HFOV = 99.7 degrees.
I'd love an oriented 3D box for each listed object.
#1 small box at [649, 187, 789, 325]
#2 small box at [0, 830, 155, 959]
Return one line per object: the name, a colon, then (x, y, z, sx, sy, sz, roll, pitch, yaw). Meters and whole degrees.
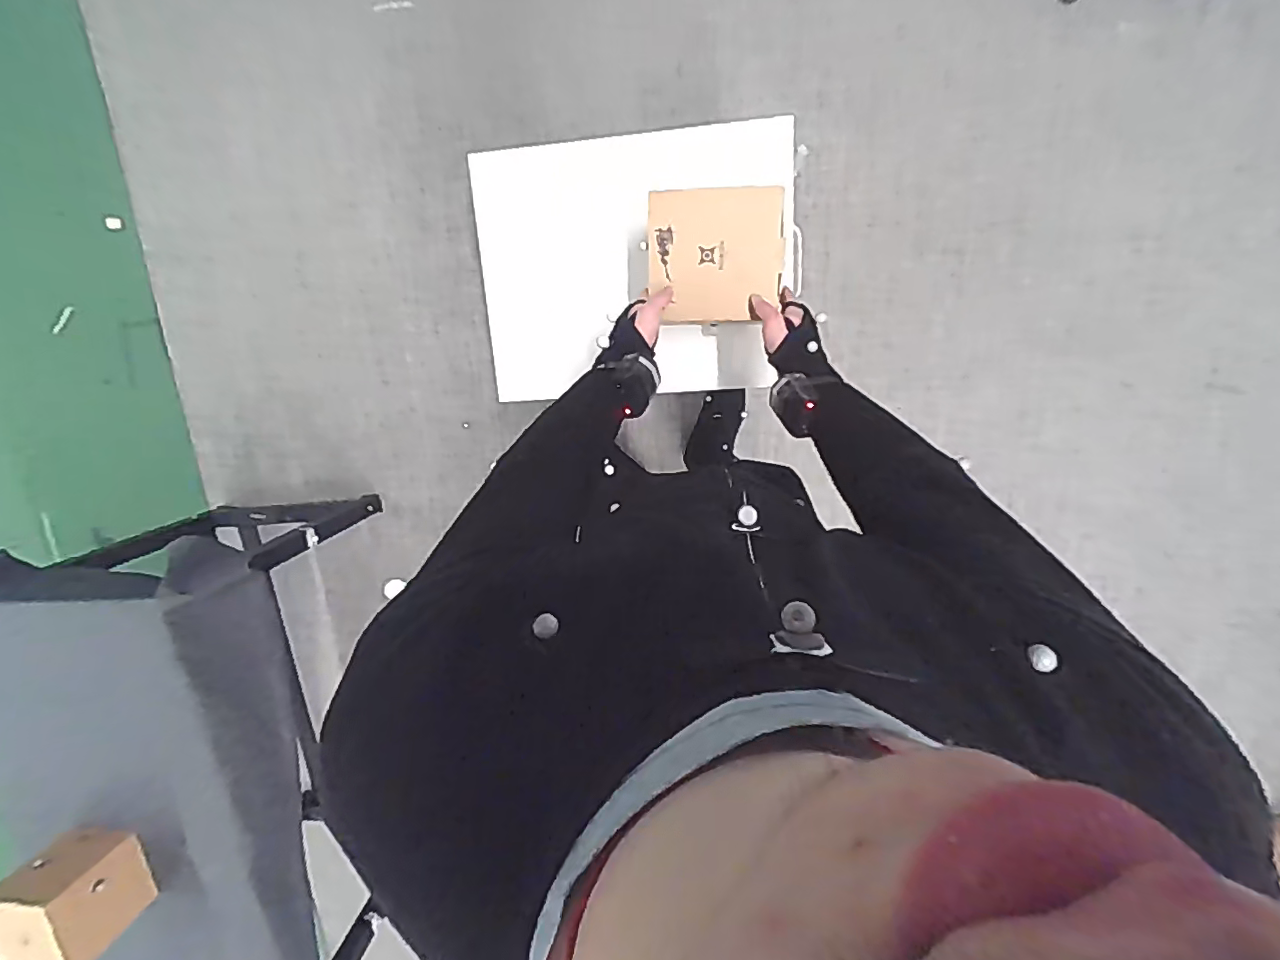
small box: (0.105, -0.311, 0.776, 0.179, 0.176, 0.168, 1, 105, 5)
small box: (-1.148, 0.843, 1.089, 0.168, 0.176, 0.179, -3, 106, 8)
